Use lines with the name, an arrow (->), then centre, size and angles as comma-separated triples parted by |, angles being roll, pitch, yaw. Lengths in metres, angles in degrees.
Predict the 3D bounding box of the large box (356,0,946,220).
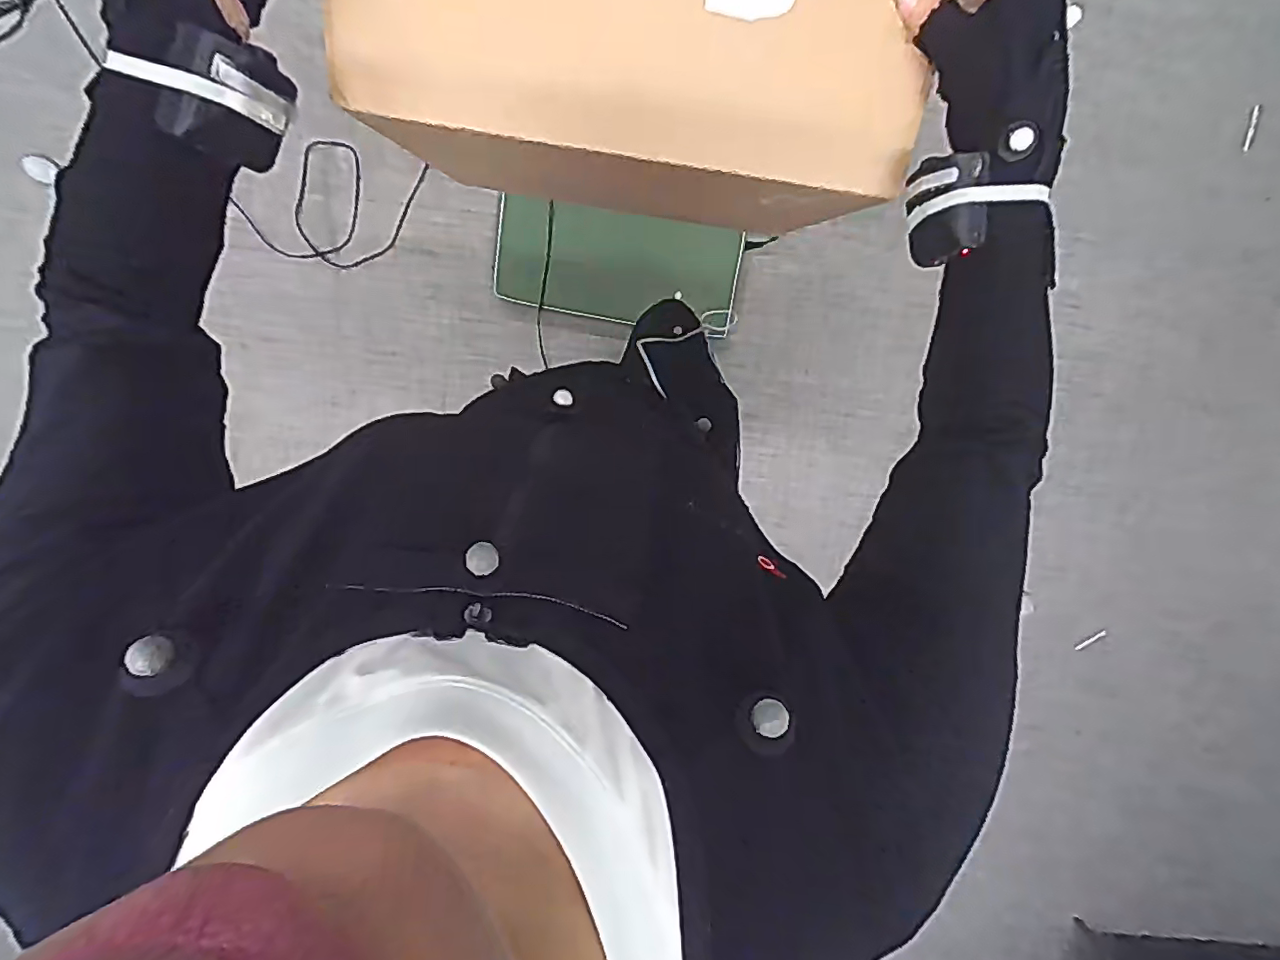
large box -> 0.011, -0.439, 0.480 | 0.408, 0.320, 0.320 | 6, 110, -6
